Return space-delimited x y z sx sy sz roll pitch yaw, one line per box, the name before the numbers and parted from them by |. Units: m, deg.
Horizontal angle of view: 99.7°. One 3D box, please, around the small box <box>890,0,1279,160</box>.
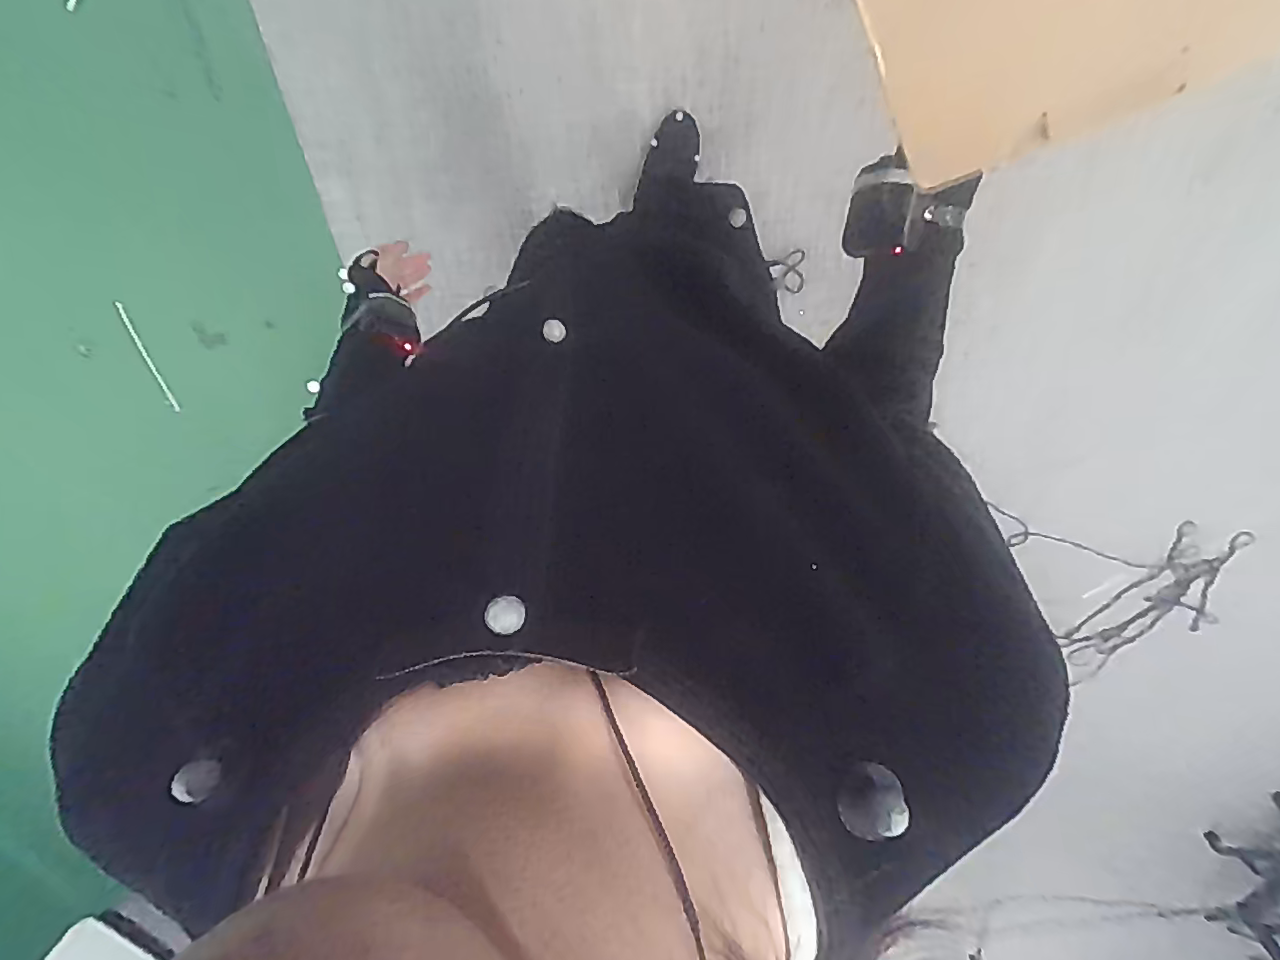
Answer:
small box | 0.194 -0.285 0.217 0.168 0.179 0.176 -3 142 45
